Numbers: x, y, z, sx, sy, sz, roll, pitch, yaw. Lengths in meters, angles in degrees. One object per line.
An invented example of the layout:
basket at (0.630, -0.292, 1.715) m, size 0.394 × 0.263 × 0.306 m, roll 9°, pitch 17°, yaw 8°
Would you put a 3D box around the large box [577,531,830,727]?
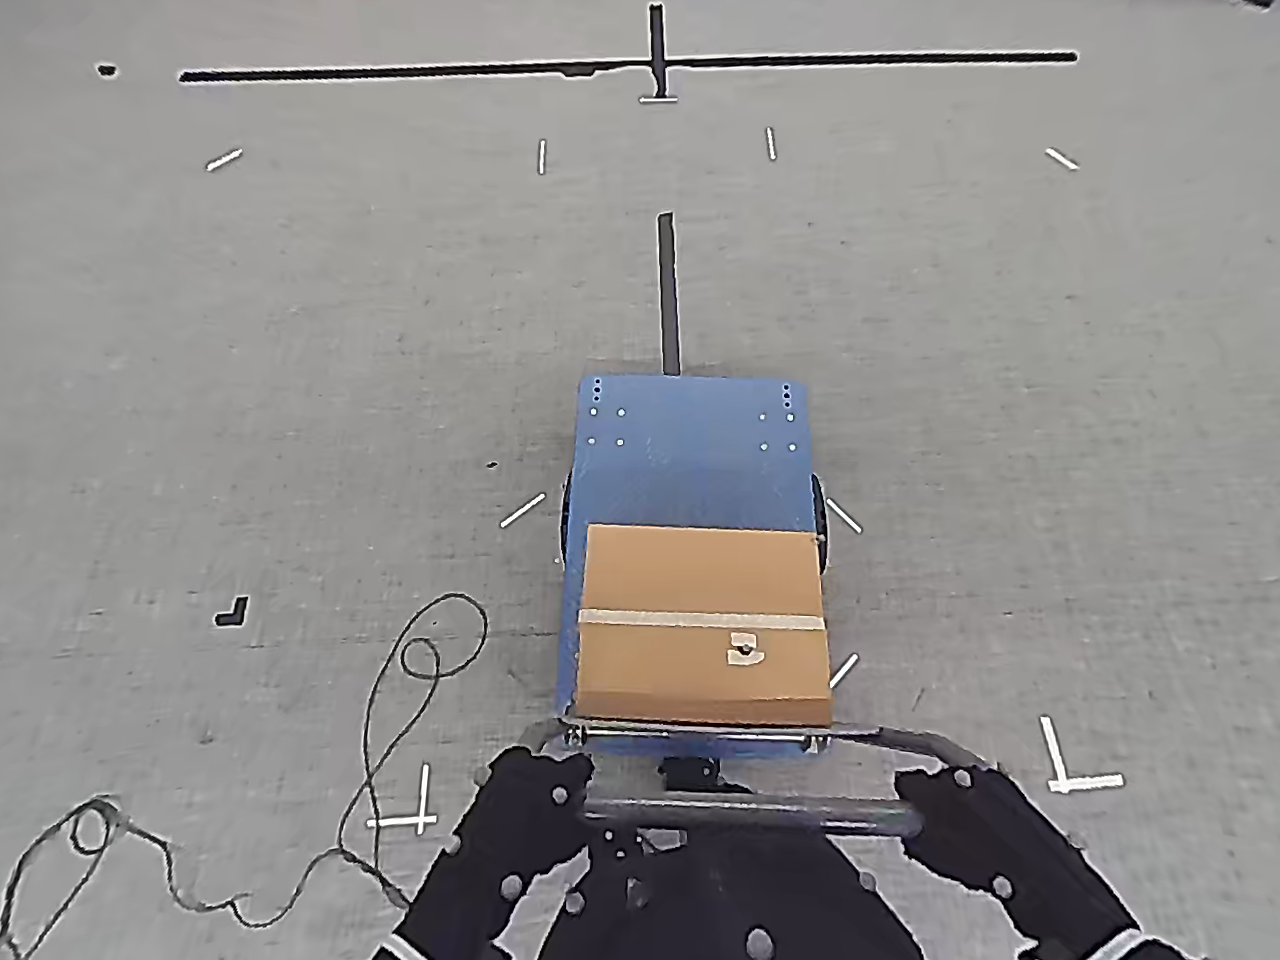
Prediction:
large box at (0.096, 0.289, 1.028) m, size 0.408 × 0.320 × 0.320 m, roll 2°, pitch 70°, yaw -1°
